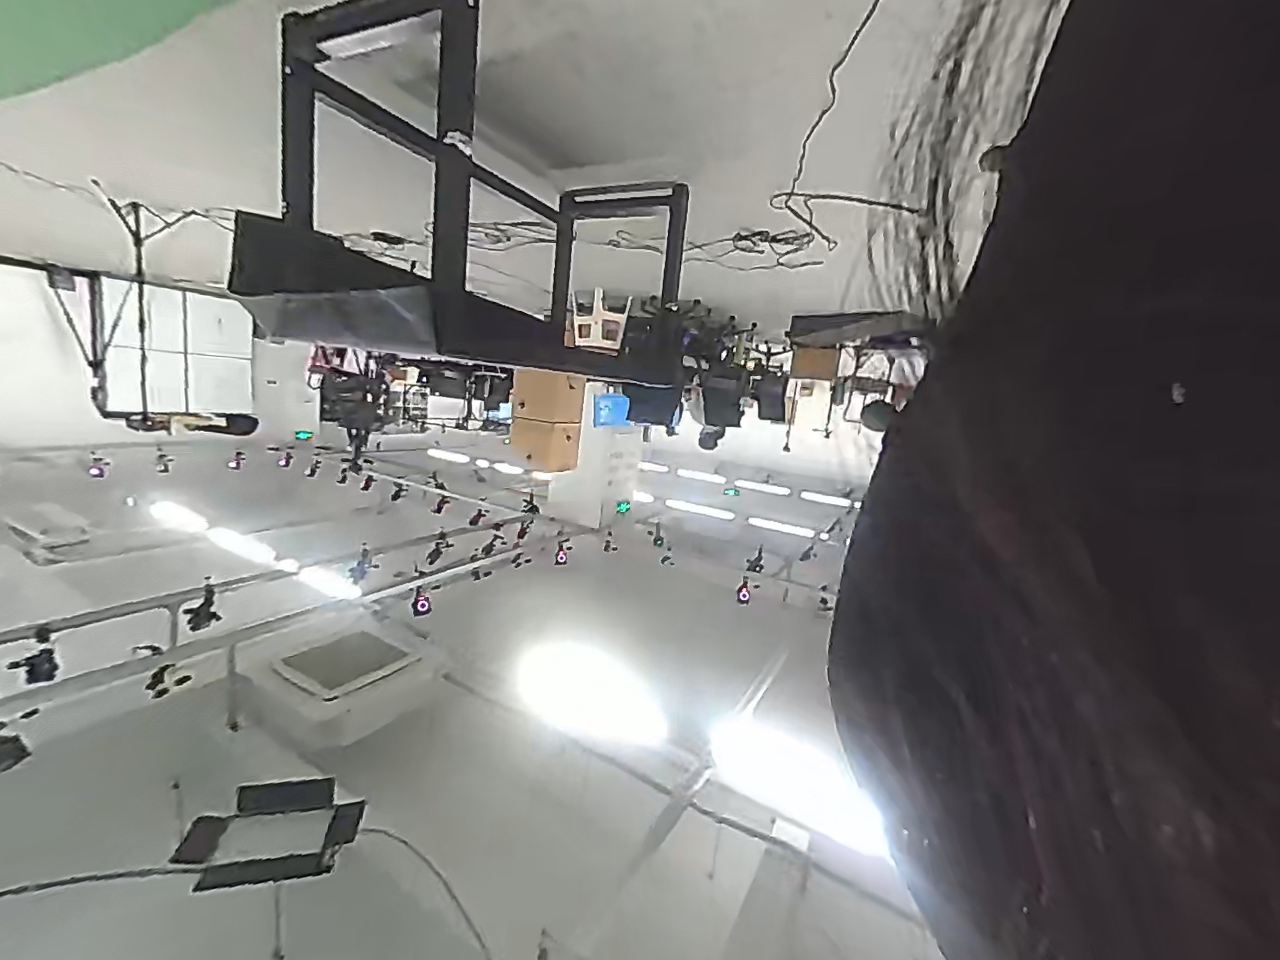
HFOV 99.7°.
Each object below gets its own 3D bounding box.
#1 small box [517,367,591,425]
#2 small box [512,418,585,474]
[{"bbox_3d":[-0.281,-0.279,1.788,0.179,0.176,0.168,12,-169,28],"label":"small box"},{"bbox_3d":[-0.302,-0.120,1.814,0.179,0.176,0.168,12,-170,28],"label":"small box"}]
